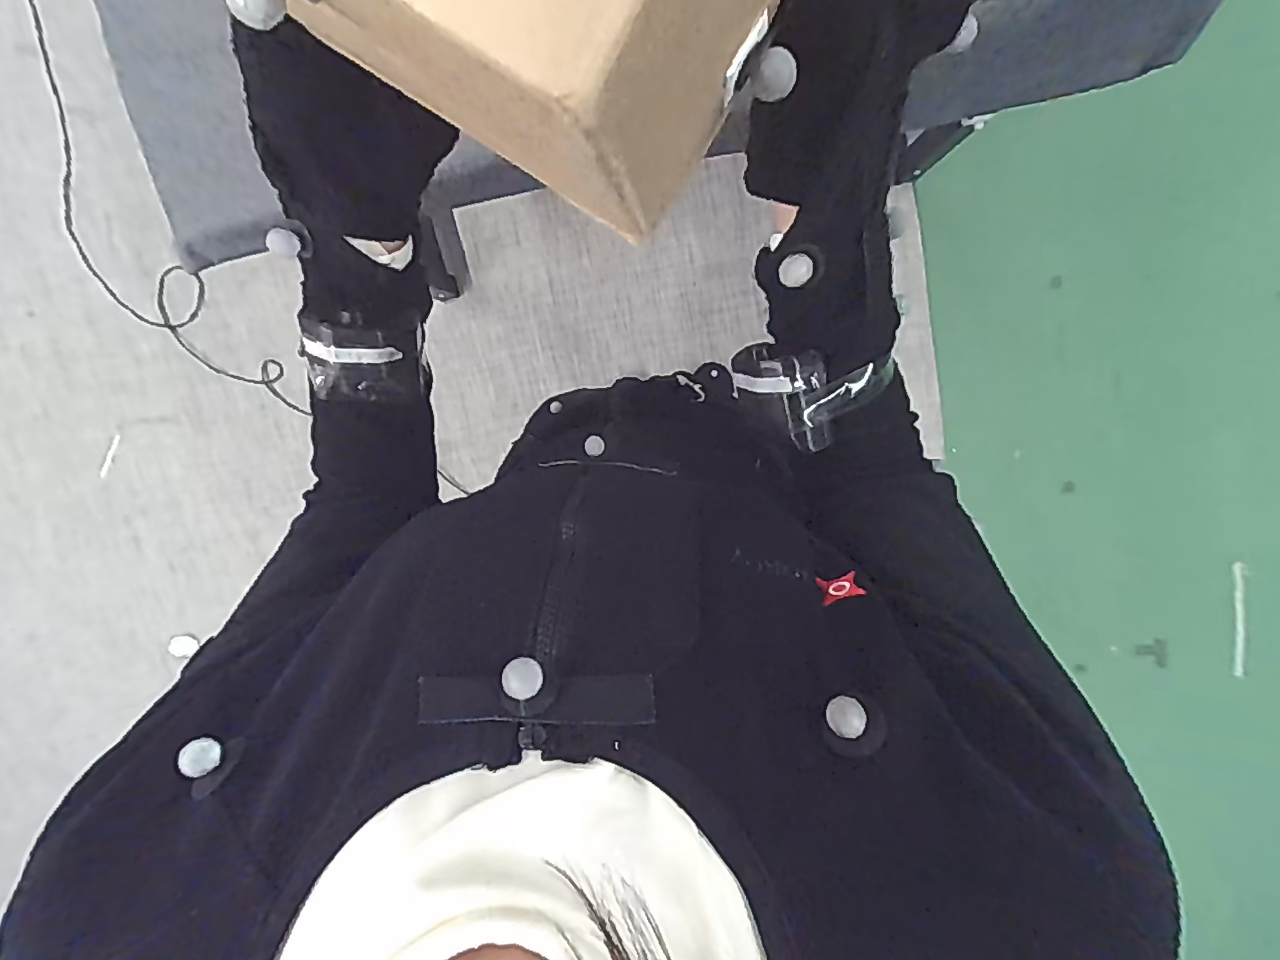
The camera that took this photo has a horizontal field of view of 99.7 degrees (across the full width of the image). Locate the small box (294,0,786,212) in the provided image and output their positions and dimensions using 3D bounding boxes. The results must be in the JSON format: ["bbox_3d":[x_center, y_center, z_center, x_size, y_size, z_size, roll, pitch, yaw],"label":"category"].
[{"bbox_3d":[-0.034,-0.202,0.145,0.179,0.176,0.168,31,106,-4],"label":"small box"}]
